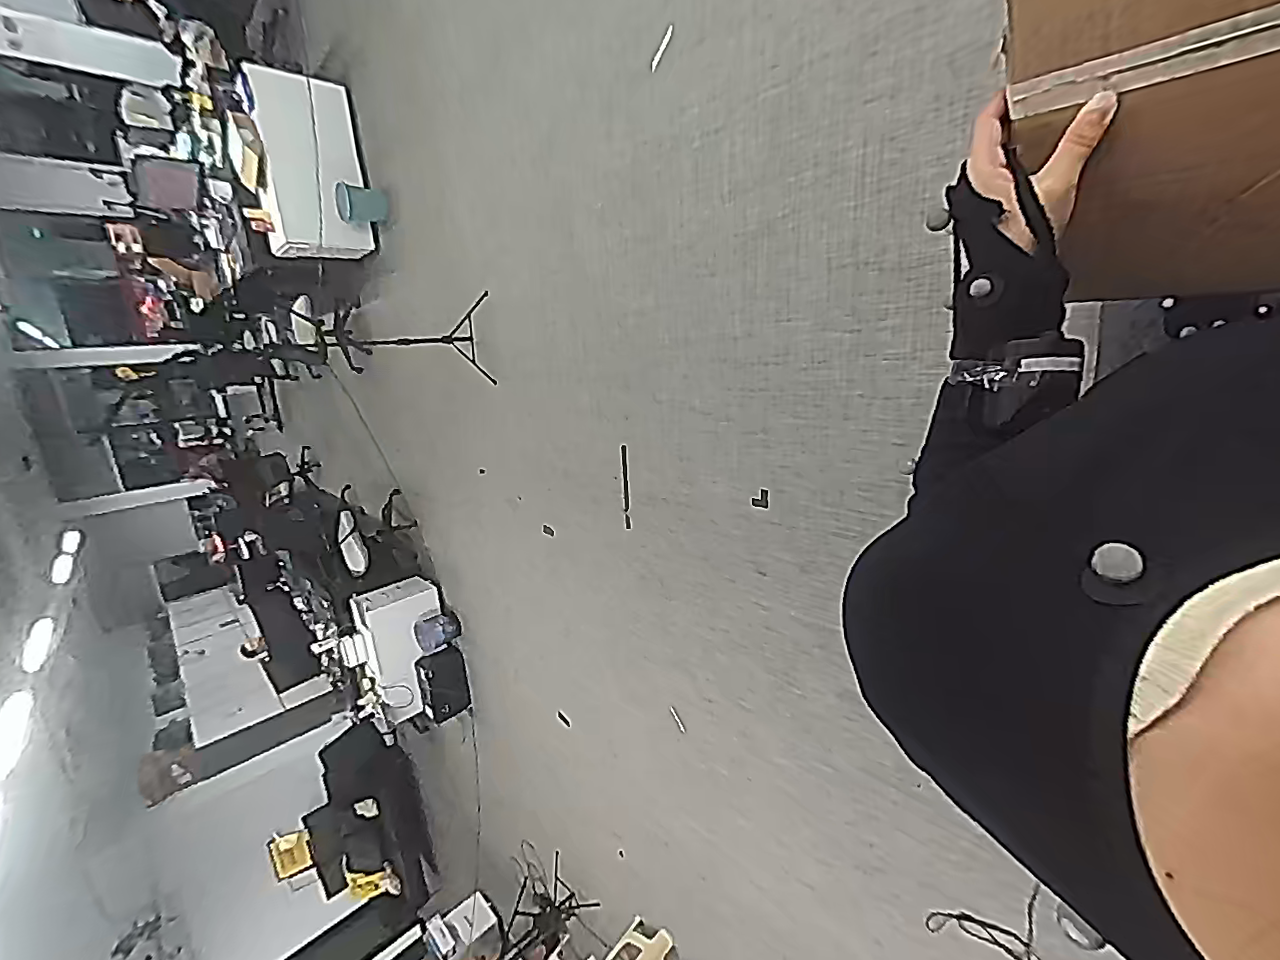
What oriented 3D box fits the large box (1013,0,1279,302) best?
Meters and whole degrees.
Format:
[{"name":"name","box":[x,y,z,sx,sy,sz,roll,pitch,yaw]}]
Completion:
[{"name":"large box","box":[0.467,-0.327,0.270,0.408,0.320,0.320,13,148,47]}]

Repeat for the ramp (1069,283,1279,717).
[{"name":"ramp","box":[1.148,0.027,1.016,0.509,0.206,0.991,7,109,45]}]
